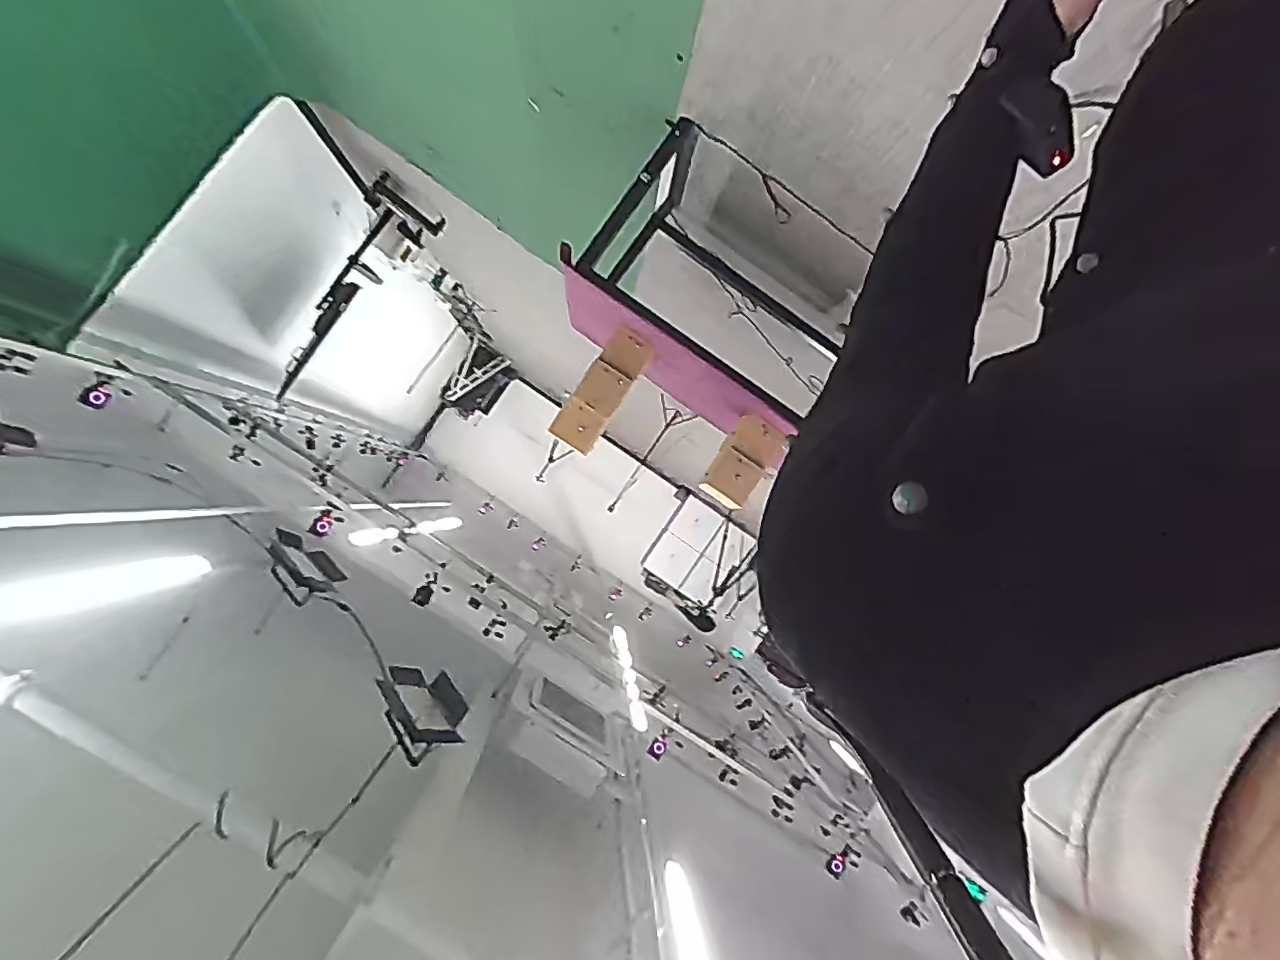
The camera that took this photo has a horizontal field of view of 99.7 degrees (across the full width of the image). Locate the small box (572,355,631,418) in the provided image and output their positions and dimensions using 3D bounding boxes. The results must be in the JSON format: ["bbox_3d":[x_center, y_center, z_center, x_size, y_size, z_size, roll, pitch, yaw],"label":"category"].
[{"bbox_3d":[-0.148,-0.361,2.090,0.168,0.176,0.179,33,177,-3],"label":"small box"}]

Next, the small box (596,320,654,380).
[{"bbox_3d":[-0.061,-0.497,2.121,0.168,0.176,0.179,33,176,-6],"label":"small box"}]

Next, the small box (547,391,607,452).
[{"bbox_3d":[-0.239,-0.226,2.090,0.168,0.176,0.179,33,177,-2],"label":"small box"}]

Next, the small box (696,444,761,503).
[{"bbox_3d":[0.343,-0.025,2.085,0.168,0.176,0.179,35,175,-3],"label":"small box"}]
